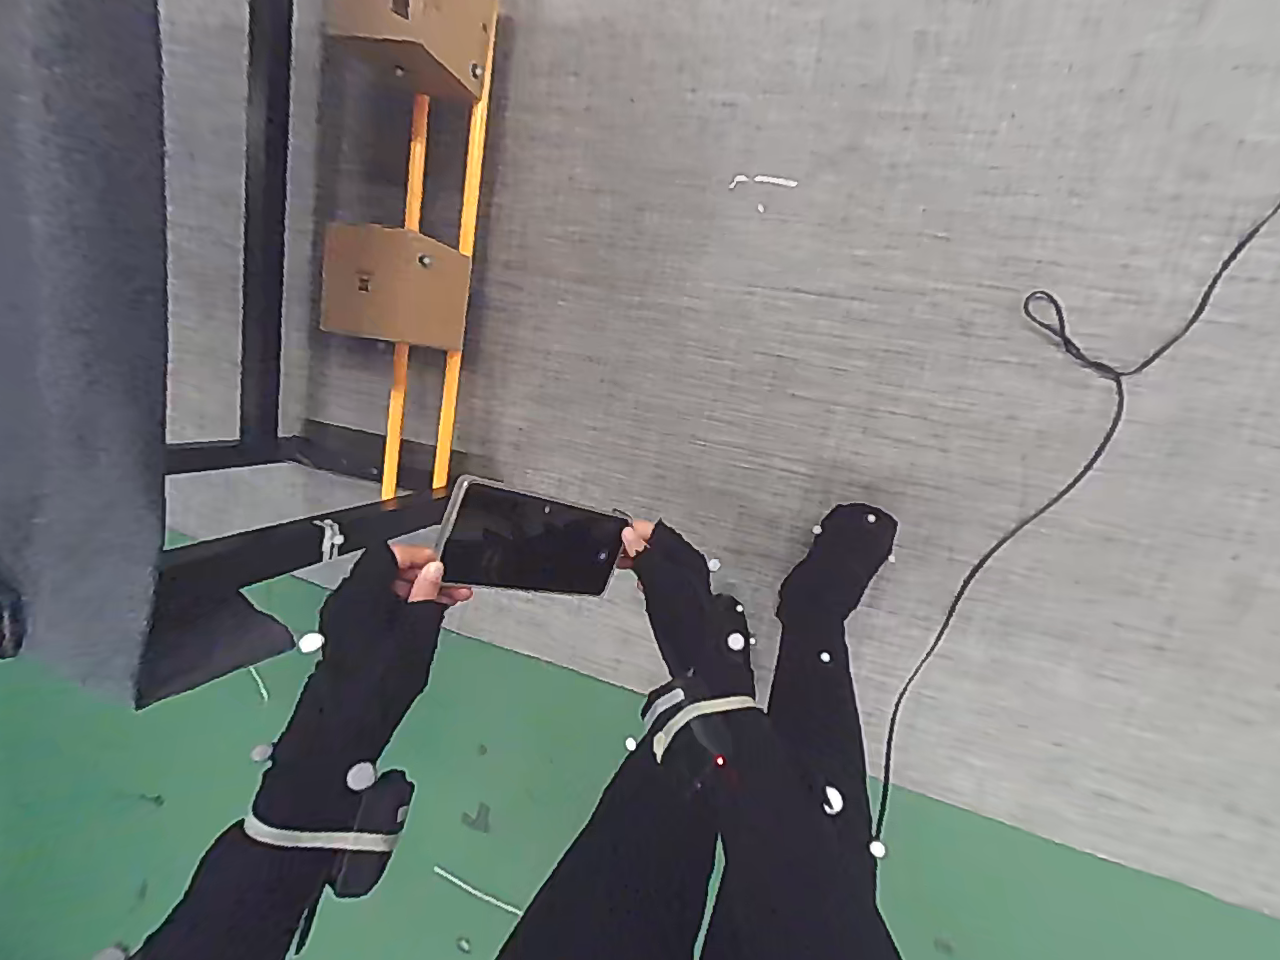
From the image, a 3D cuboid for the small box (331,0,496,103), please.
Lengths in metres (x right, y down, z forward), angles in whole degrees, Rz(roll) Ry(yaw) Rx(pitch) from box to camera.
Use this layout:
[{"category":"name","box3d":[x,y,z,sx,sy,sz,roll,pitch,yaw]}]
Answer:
[{"category":"small box","box3d":[-0.358,-0.746,0.877,0.179,0.176,0.168,16,101,15]}]
